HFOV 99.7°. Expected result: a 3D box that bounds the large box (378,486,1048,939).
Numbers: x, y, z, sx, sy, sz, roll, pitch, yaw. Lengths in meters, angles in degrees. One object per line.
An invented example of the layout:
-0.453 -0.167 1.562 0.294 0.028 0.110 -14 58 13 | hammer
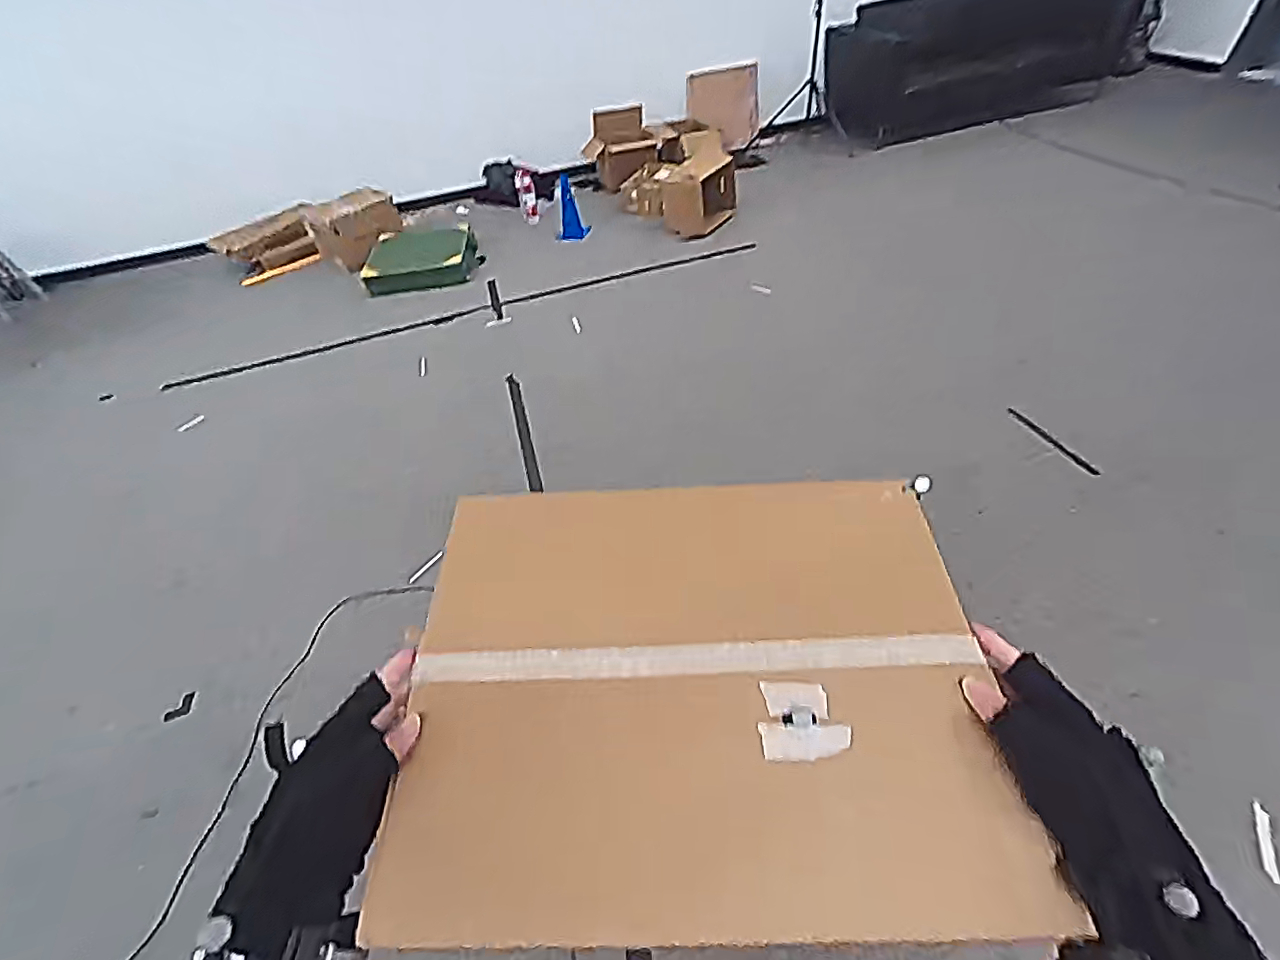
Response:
0.041 0.226 0.522 0.408 0.320 0.320 -2 53 1 | large box
